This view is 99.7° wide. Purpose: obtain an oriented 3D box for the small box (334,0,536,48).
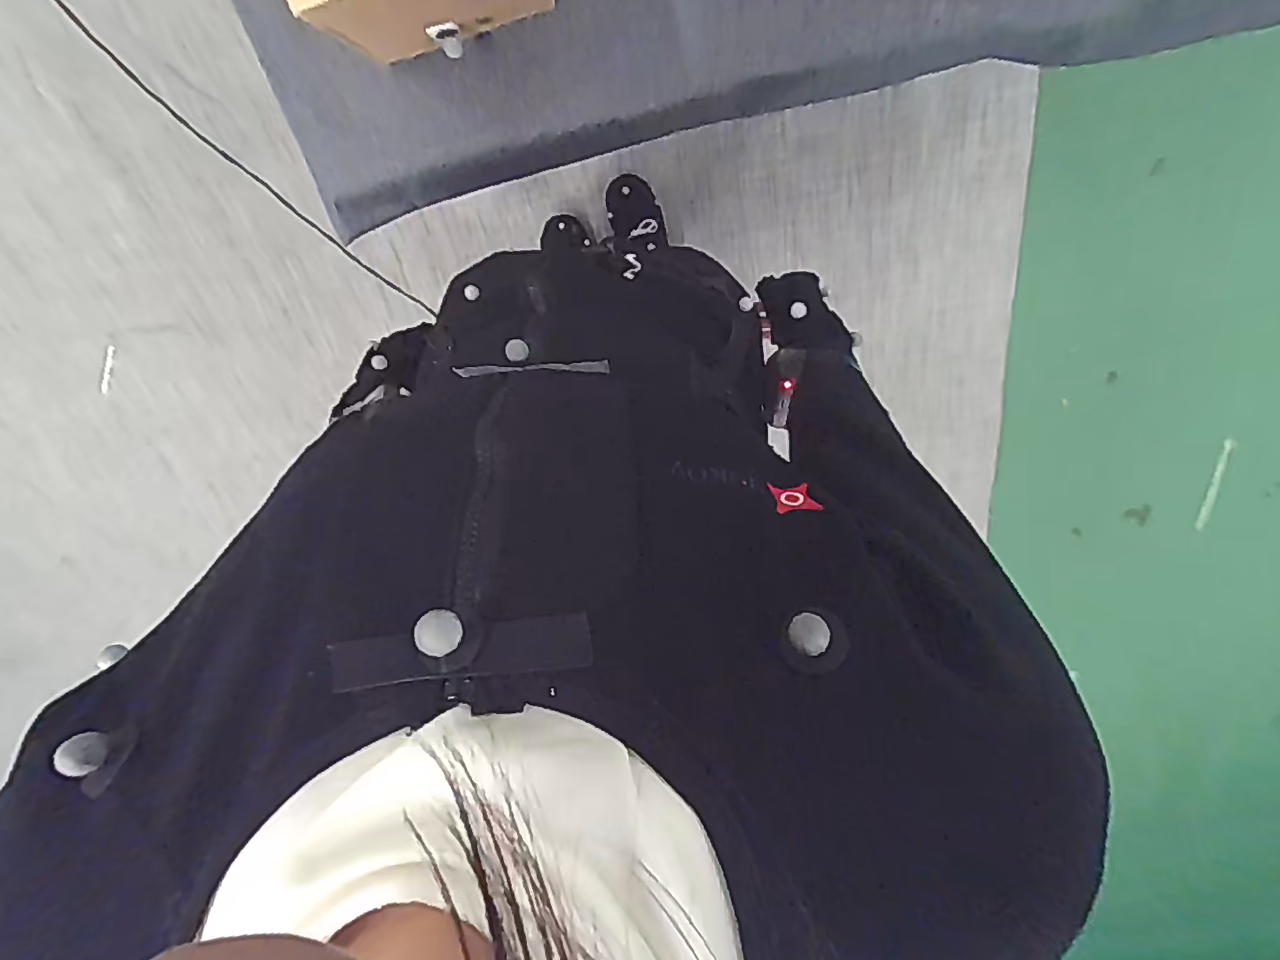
[{"bbox_3d":[-0.172,-0.445,0.374,0.168,0.176,0.179,-15,118,7],"label":"small box"}]
